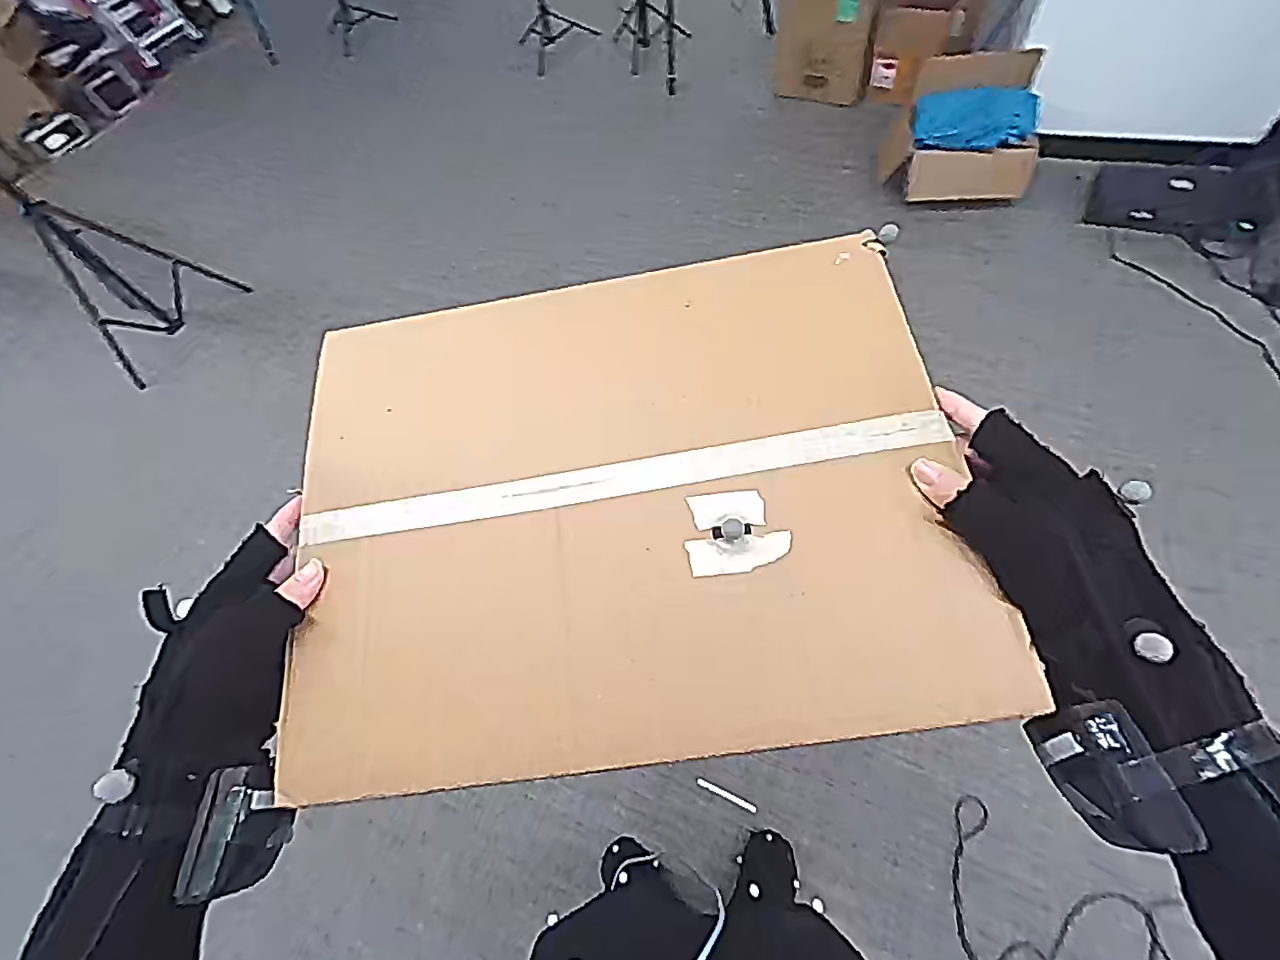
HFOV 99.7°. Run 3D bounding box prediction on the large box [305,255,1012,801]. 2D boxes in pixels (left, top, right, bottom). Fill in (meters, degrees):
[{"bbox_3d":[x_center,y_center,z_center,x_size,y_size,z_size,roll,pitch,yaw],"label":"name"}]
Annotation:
[{"bbox_3d":[-0.001,0.062,0.488,0.408,0.320,0.320,-10,68,3],"label":"large box"}]
